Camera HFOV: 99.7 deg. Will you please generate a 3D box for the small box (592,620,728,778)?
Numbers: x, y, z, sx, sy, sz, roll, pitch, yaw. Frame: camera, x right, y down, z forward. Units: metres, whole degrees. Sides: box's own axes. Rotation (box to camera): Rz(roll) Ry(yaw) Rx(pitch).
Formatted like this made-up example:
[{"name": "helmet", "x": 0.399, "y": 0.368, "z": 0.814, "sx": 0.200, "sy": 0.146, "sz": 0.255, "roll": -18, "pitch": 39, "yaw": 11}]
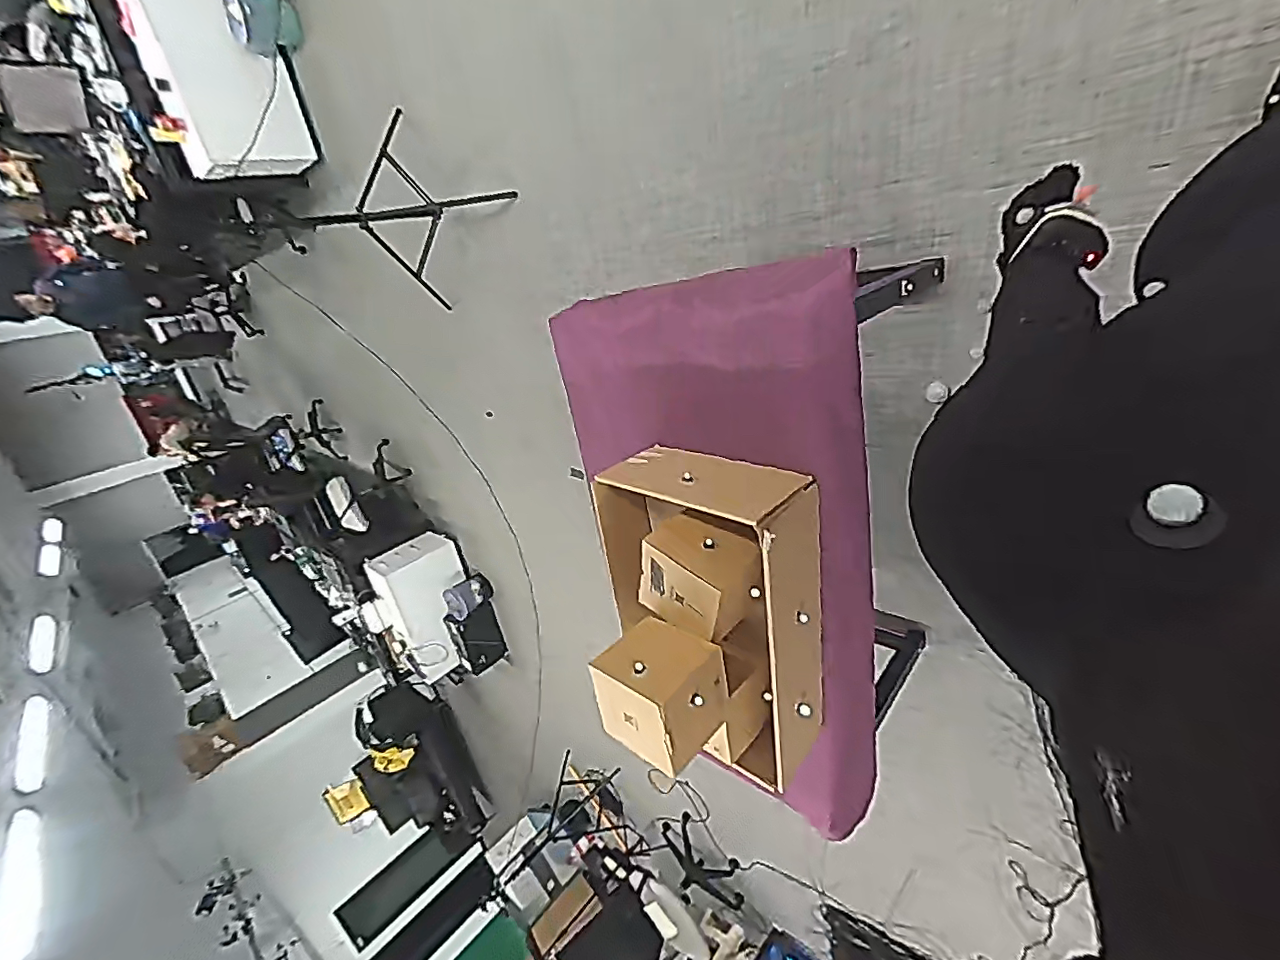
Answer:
[{"name": "small box", "x": 0.045, "y": 0.380, "z": 0.974, "sx": 0.179, "sy": 0.176, "sz": 0.168, "roll": 13, "pitch": 121, "yaw": 45}]
